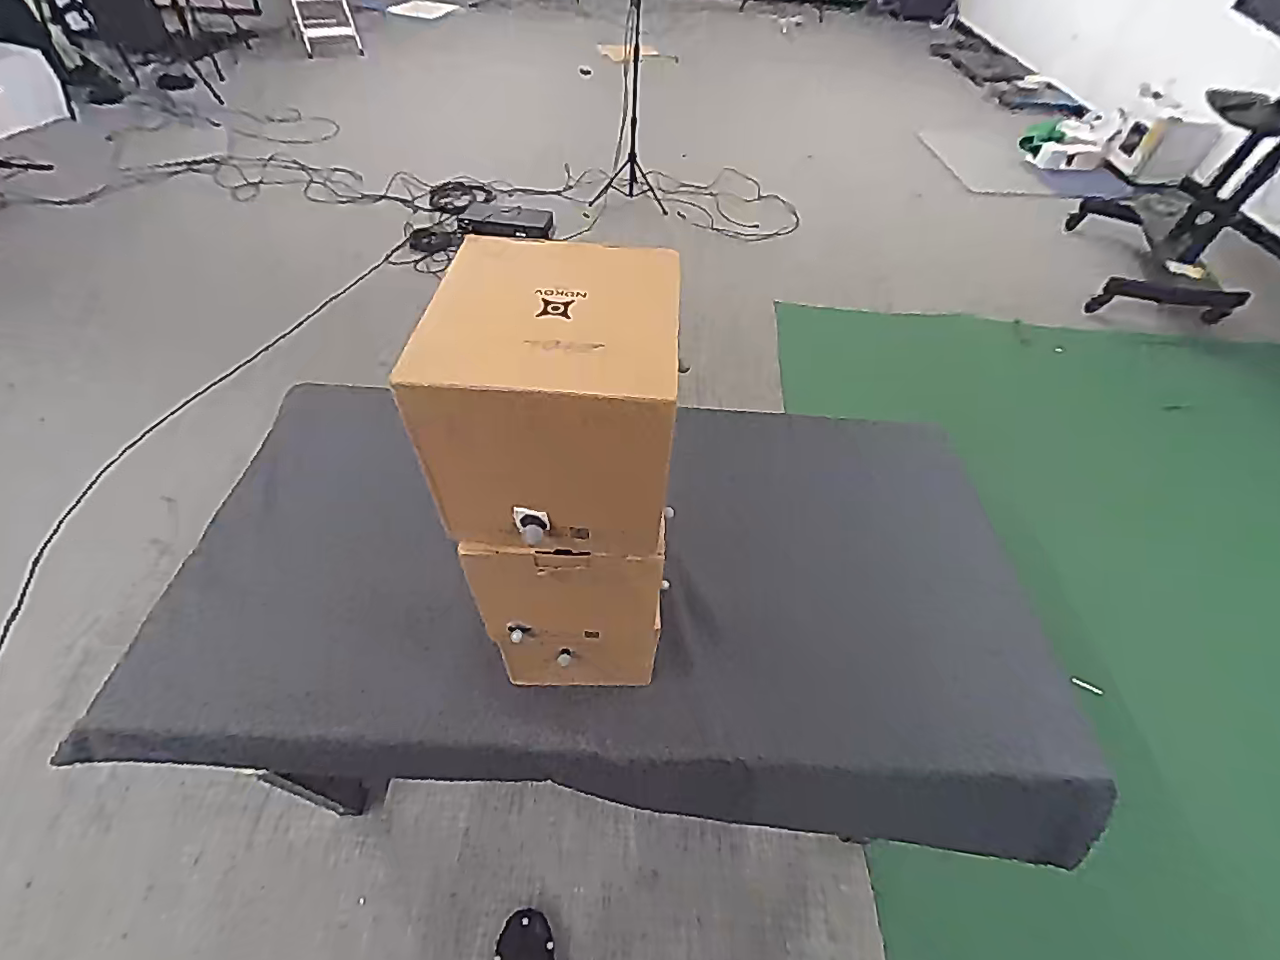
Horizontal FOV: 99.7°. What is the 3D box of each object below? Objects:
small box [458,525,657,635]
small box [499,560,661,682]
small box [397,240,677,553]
[{"bbox_3d":[-0.067,0.044,0.549,0.168,0.176,0.179,2,49,-2],"label":"small box"},{"bbox_3d":[-0.071,0.143,0.683,0.179,0.176,0.168,-1,48,-5],"label":"small box"},{"bbox_3d":[-0.061,-0.064,0.428,0.168,0.176,0.179,3,51,0],"label":"small box"}]
